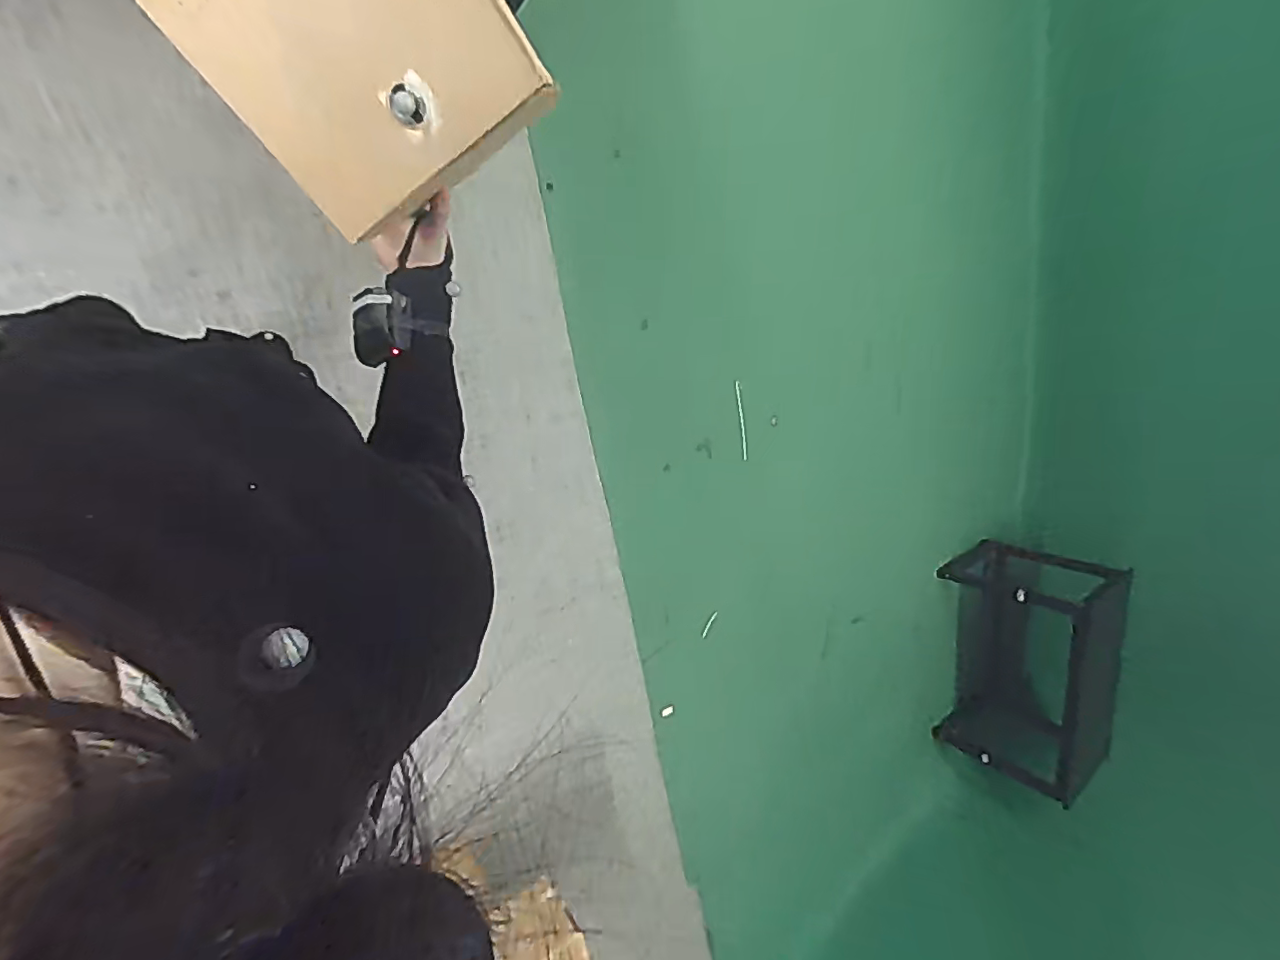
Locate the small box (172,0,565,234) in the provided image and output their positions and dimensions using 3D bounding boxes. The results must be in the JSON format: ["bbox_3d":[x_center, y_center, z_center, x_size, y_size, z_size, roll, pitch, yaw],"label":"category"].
[{"bbox_3d":[-0.172,-0.307,0.373,0.179,0.168,0.176,-31,121,11],"label":"small box"}]
